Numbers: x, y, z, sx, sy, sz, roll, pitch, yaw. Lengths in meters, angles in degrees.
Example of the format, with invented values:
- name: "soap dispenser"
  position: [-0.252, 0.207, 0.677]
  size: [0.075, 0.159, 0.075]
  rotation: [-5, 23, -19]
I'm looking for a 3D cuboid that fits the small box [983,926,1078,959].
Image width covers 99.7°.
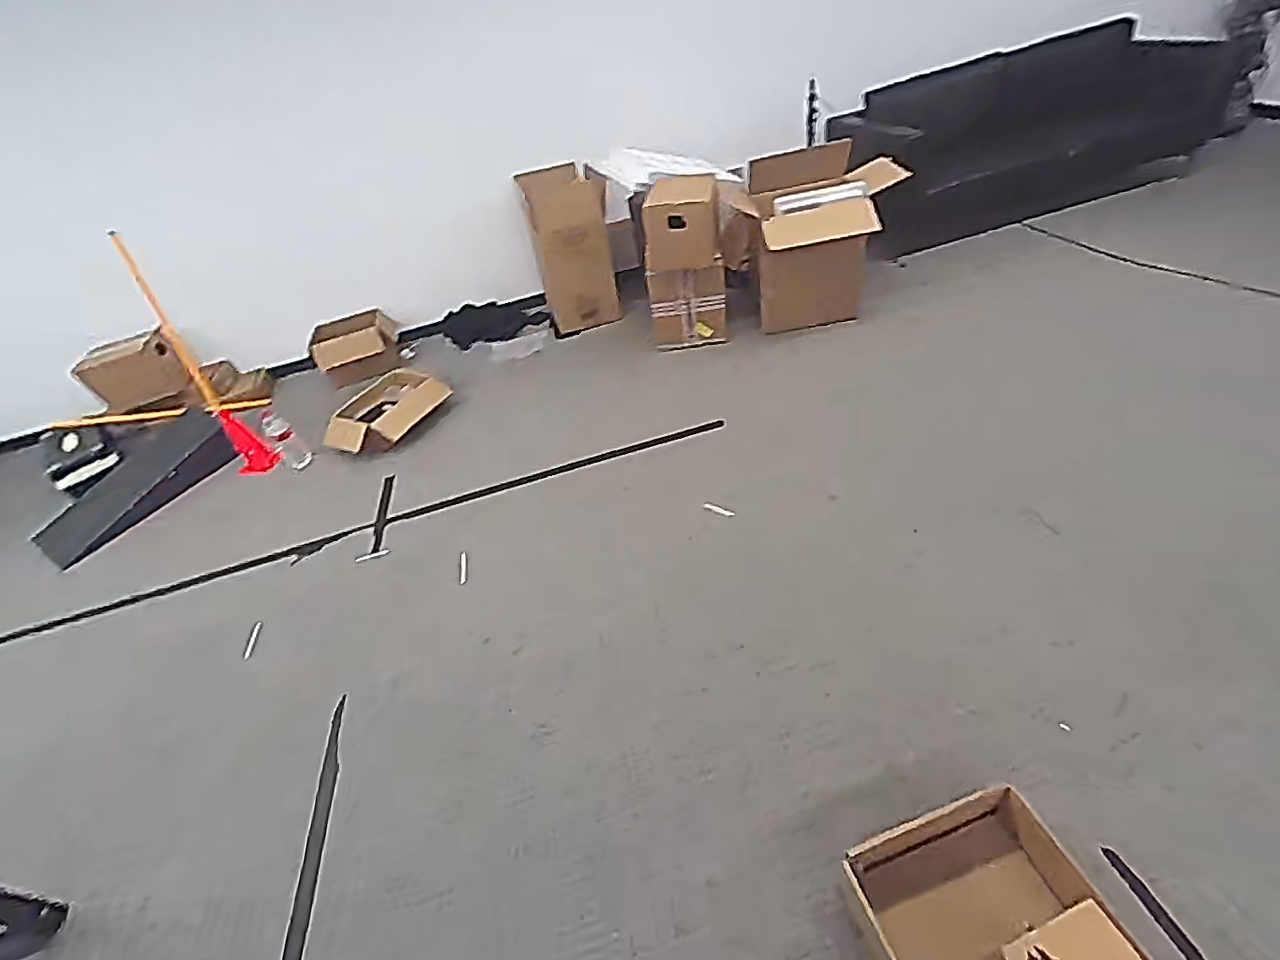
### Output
- name: "small box"
  position: [0.677, 0.909, 0.922]
  size: [0.179, 0.176, 0.168]
  rotation: [-20, 41, -8]
